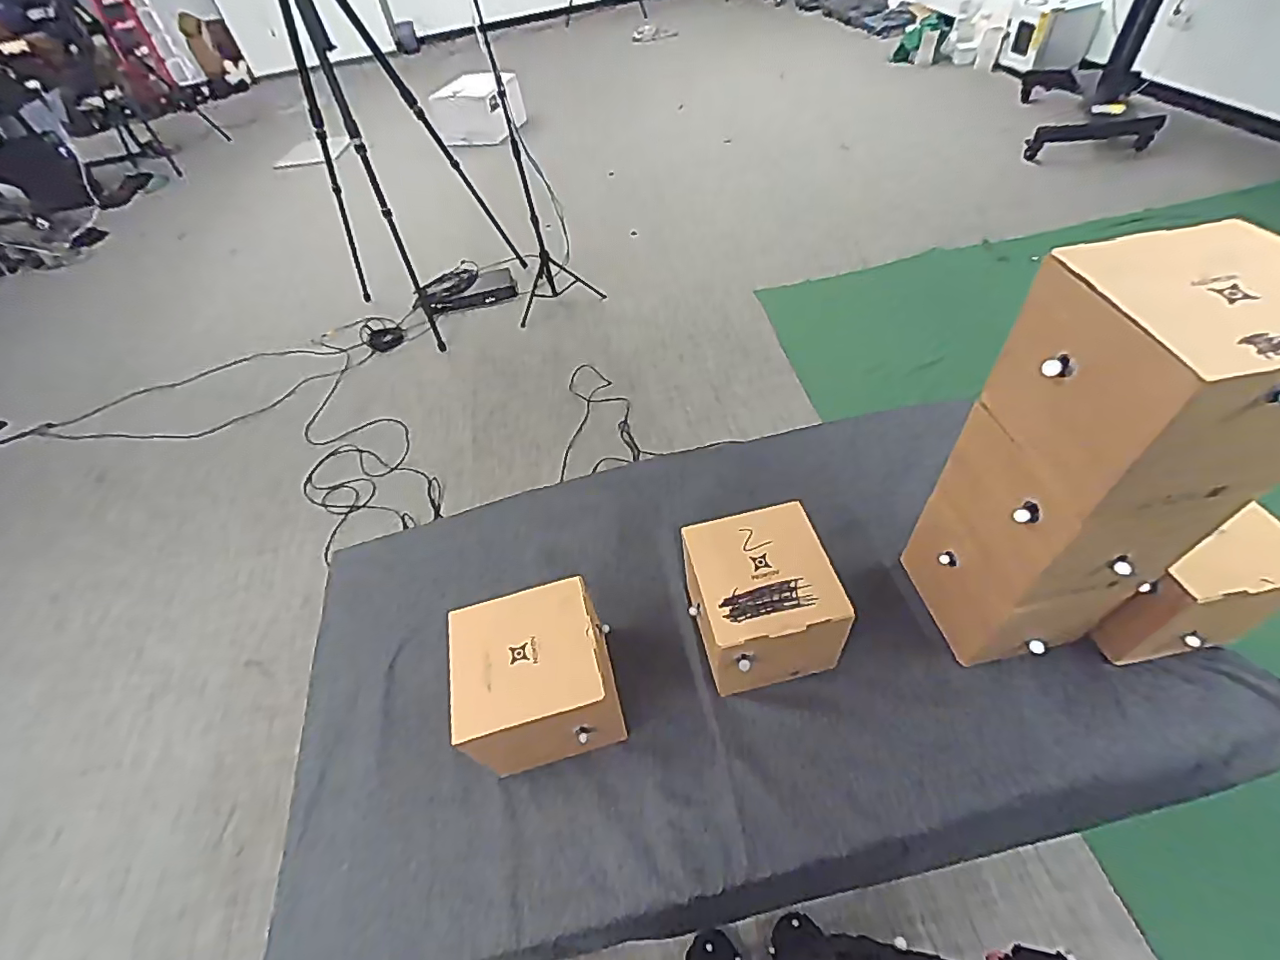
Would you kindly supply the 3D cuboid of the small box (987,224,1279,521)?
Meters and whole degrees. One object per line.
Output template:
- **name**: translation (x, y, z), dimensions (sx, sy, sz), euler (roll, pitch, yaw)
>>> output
- **small box**: translation (0.445, -0.091, 0.469), dimensions (0.168, 0.176, 0.179), euler (-10, 49, 2)

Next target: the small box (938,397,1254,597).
- **small box**: translation (0.467, 0.013, 0.595), dimensions (0.168, 0.176, 0.179), euler (-11, 49, 0)
